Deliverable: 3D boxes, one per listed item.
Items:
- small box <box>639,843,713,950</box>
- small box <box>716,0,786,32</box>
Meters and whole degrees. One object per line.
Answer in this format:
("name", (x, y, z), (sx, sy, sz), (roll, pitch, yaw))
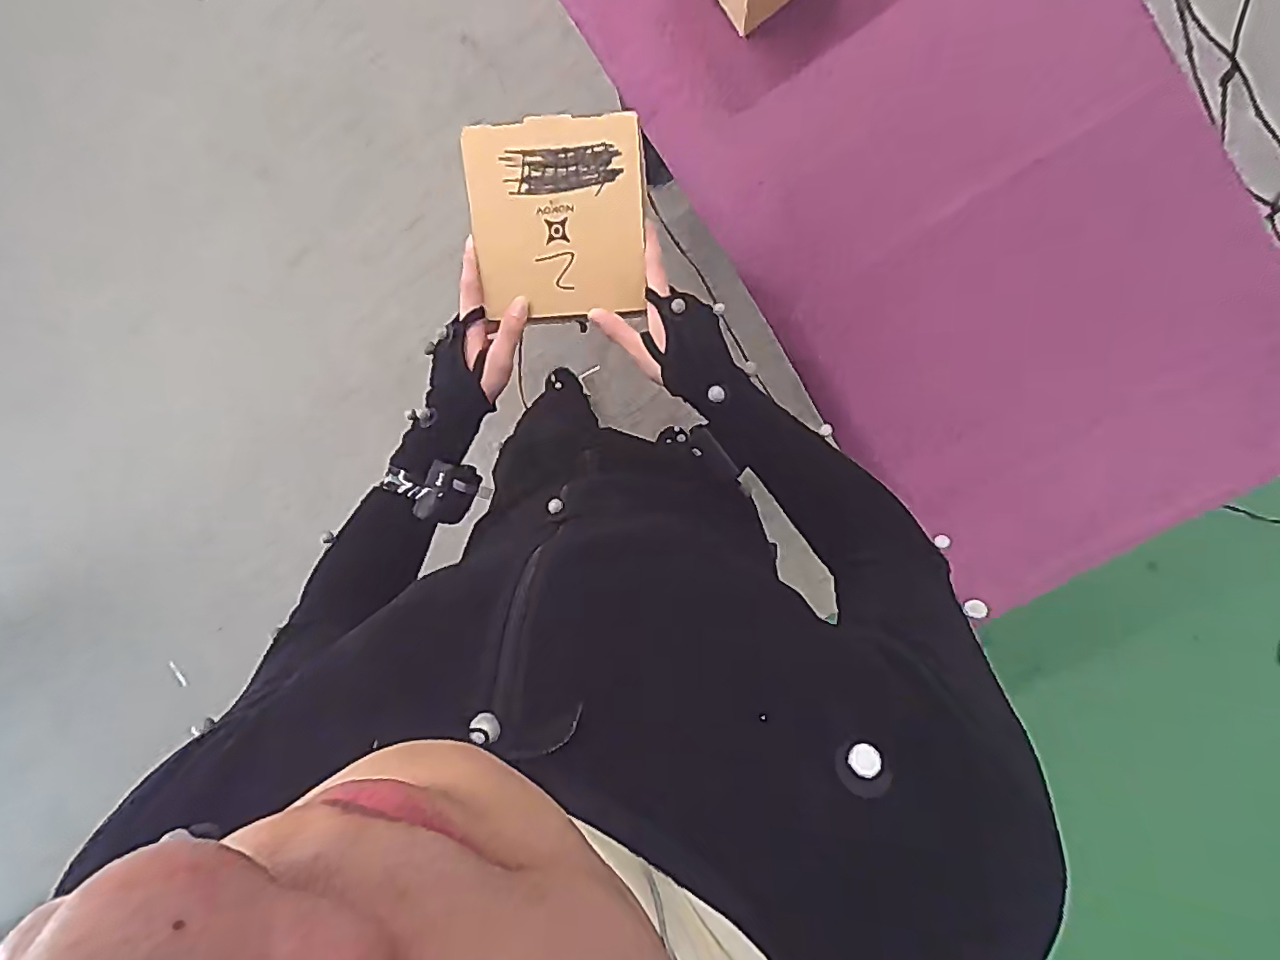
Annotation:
("small box", (0.116, 1.287, 1.682), (0.168, 0.176, 0.179), (-29, 94, 8))
("small box", (0.164, -0.748, 0.690), (0.179, 0.176, 0.168), (-34, 93, 9))
